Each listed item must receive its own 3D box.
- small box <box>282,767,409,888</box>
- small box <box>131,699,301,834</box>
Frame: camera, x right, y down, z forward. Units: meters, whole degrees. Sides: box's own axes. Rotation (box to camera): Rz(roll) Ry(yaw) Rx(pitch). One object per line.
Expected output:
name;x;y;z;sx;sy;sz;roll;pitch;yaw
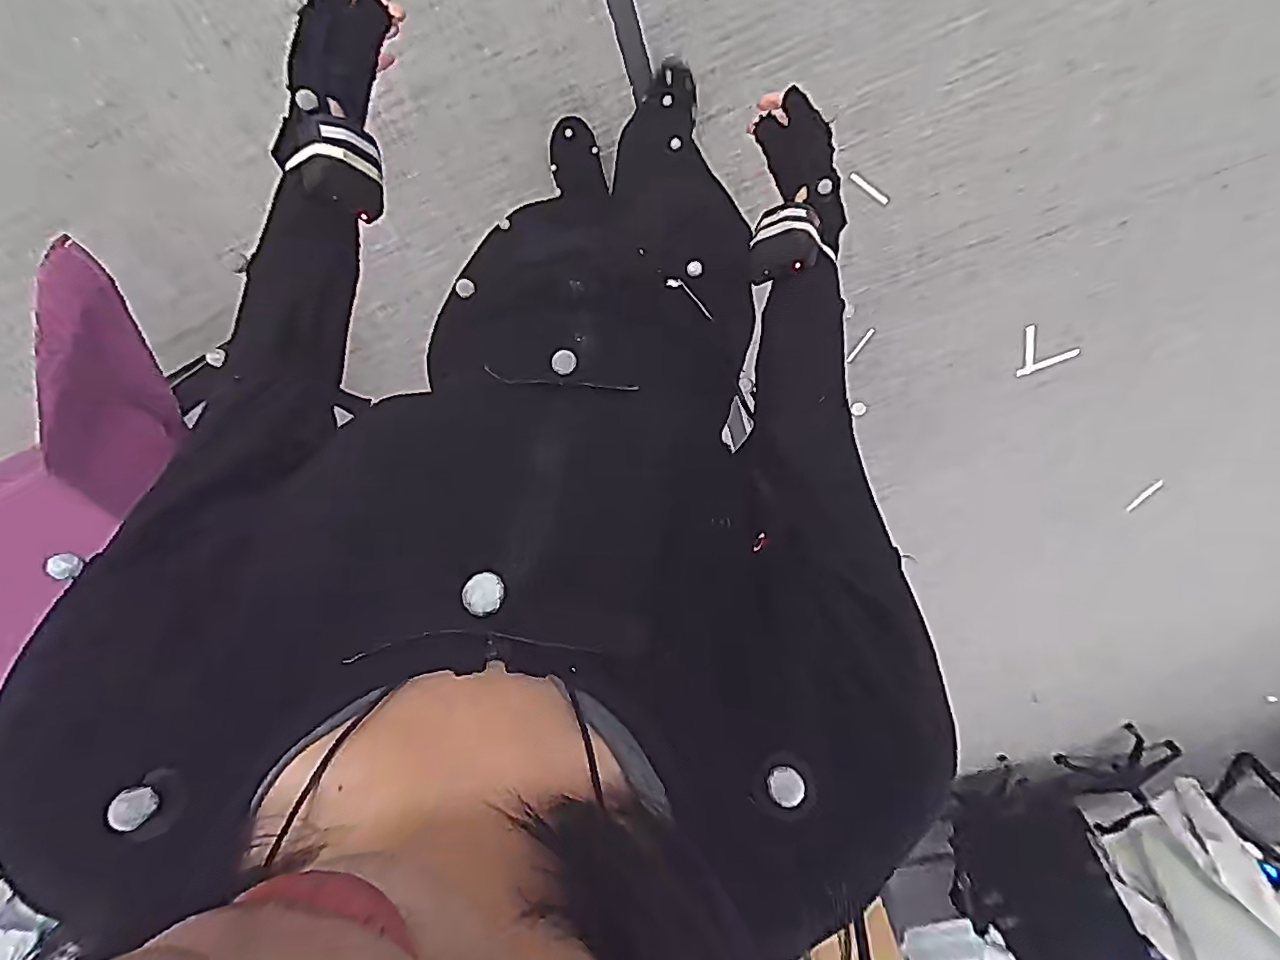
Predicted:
small box;-0.656;0.789;1.233;0.179;0.176;0.168;-29;122;14
small box;-0.803;0.553;1.054;0.179;0.176;0.168;-15;125;7
